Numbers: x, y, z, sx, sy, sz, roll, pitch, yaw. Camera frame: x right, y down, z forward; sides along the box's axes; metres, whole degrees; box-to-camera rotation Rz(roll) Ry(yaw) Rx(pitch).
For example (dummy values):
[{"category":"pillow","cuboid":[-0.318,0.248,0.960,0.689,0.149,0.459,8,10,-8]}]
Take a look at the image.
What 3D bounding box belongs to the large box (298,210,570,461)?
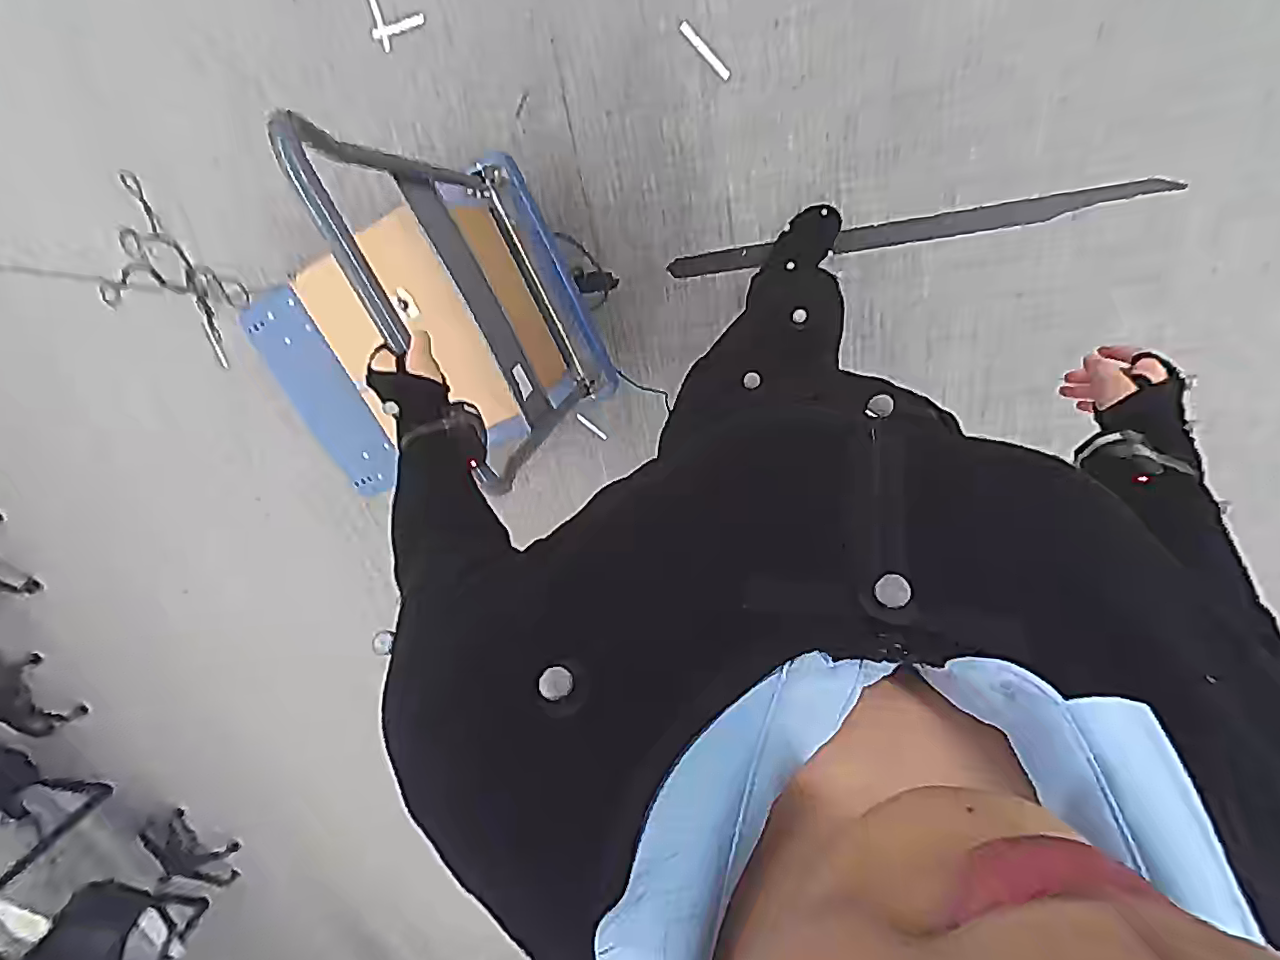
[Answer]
[{"category":"large box","cuboid":[-0.412,-0.315,1.180,0.320,0.320,0.408,-20,109,19]}]
